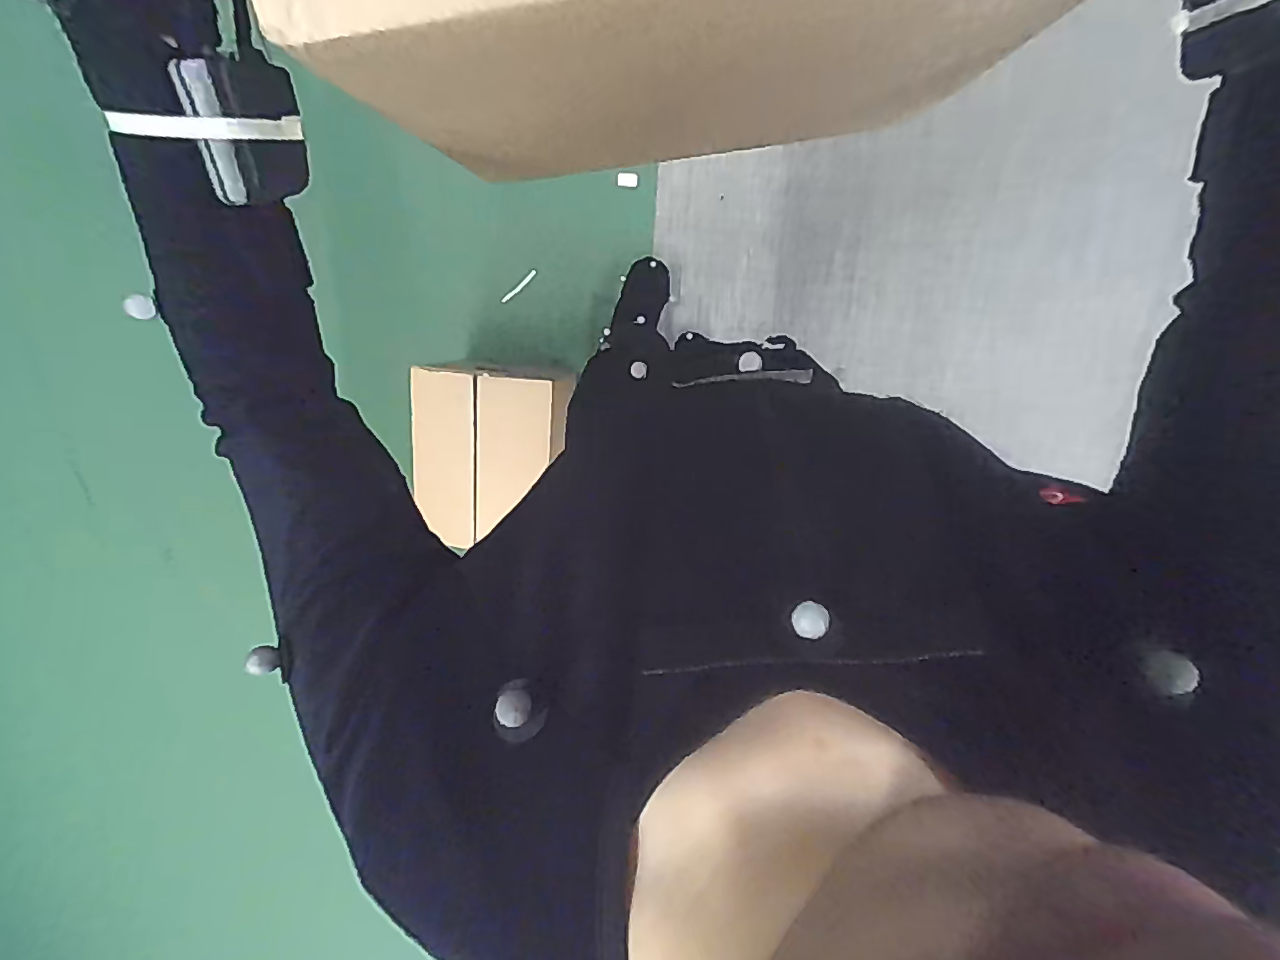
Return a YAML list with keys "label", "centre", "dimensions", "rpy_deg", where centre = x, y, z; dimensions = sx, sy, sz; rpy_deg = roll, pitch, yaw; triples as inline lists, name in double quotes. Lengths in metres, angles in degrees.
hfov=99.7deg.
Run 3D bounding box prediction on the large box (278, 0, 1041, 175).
- label: "large box"
  centre: [0.024, -0.408, 0.314]
  dimensions: [0.408, 0.320, 0.320]
  rpy_deg: [-6, 109, 4]
